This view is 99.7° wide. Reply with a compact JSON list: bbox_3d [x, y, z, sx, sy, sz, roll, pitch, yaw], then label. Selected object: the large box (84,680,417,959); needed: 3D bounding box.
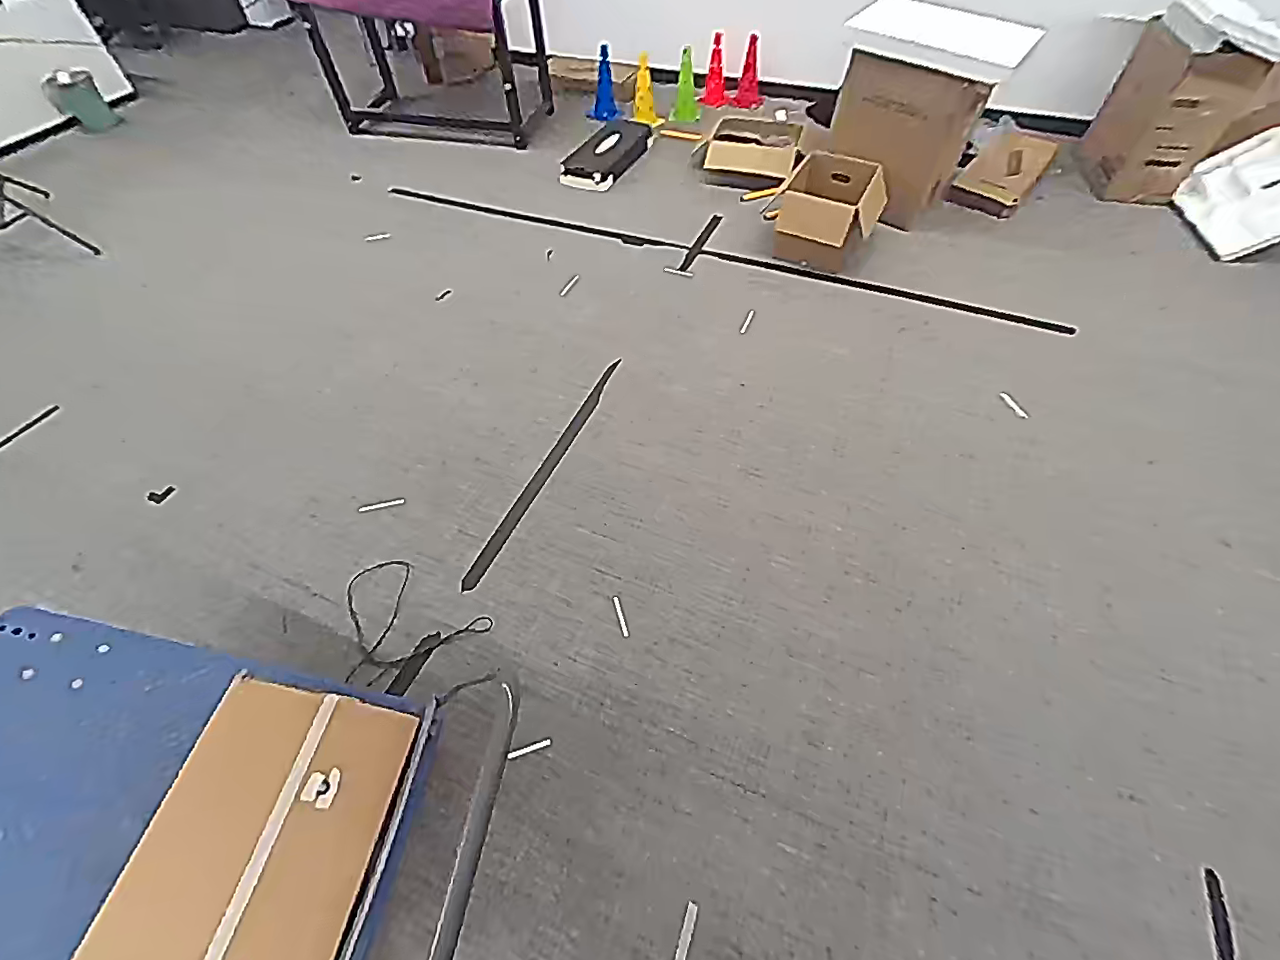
[{"bbox_3d":[-0.631,0.625,0.958,0.320,0.320,0.408,21,51,-16],"label":"large box"}]
